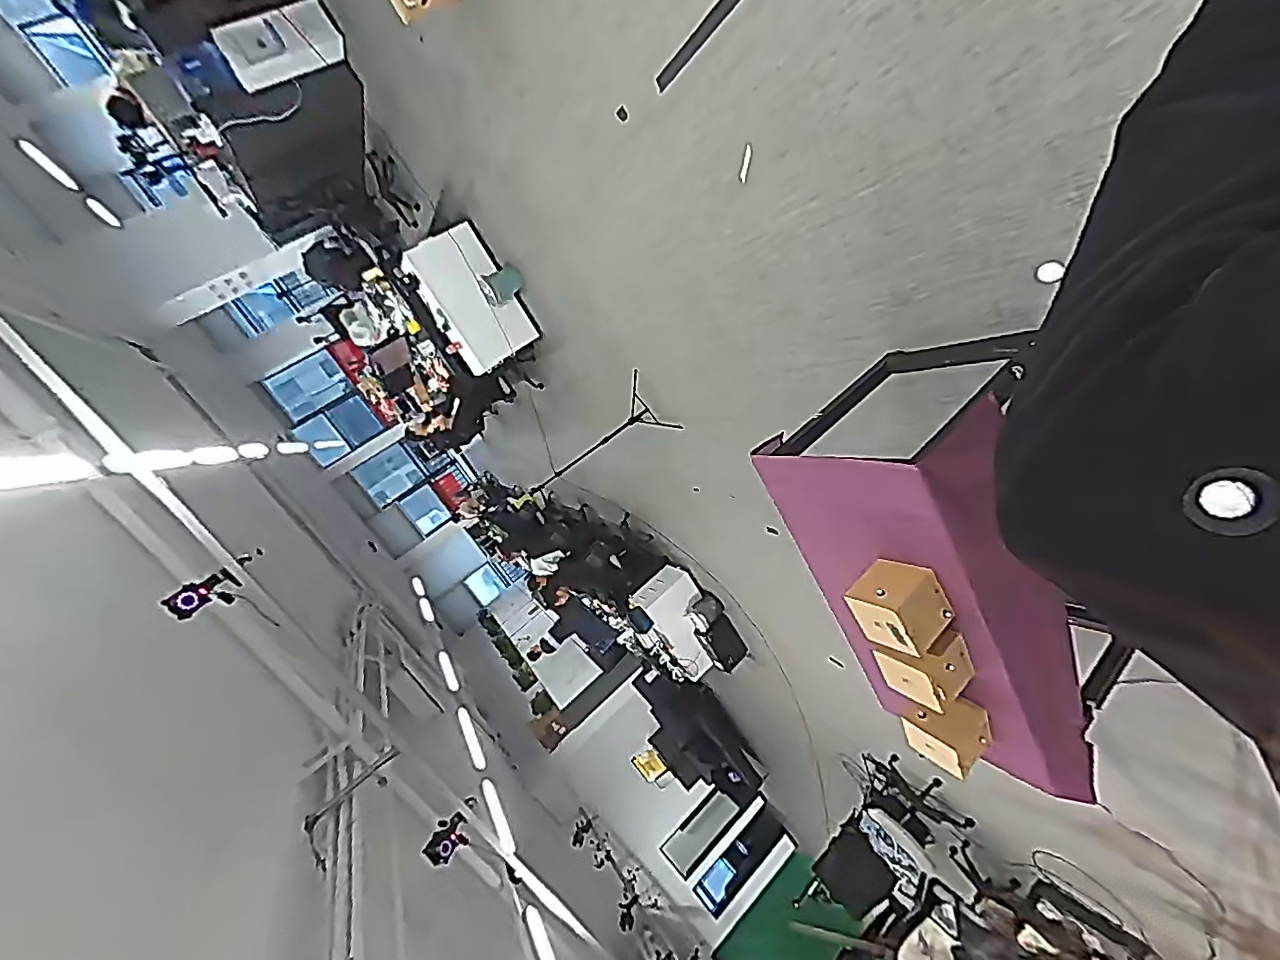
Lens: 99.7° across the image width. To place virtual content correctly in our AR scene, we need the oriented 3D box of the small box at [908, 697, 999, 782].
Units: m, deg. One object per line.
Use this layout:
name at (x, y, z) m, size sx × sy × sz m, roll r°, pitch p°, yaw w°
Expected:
small box at (0.969, 0.774, 1.670) m, size 0.179 × 0.176 × 0.168 m, roll 21°, pitch 145°, yaw 55°

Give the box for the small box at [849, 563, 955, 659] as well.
small box at (0.717, 0.344, 1.467) m, size 0.168 × 0.176 × 0.179 m, roll 56°, pitch 162°, yaw -15°

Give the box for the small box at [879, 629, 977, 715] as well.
small box at (0.827, 0.521, 1.541) m, size 0.179 × 0.176 × 0.168 m, roll 15°, pitch 138°, yaw 61°
